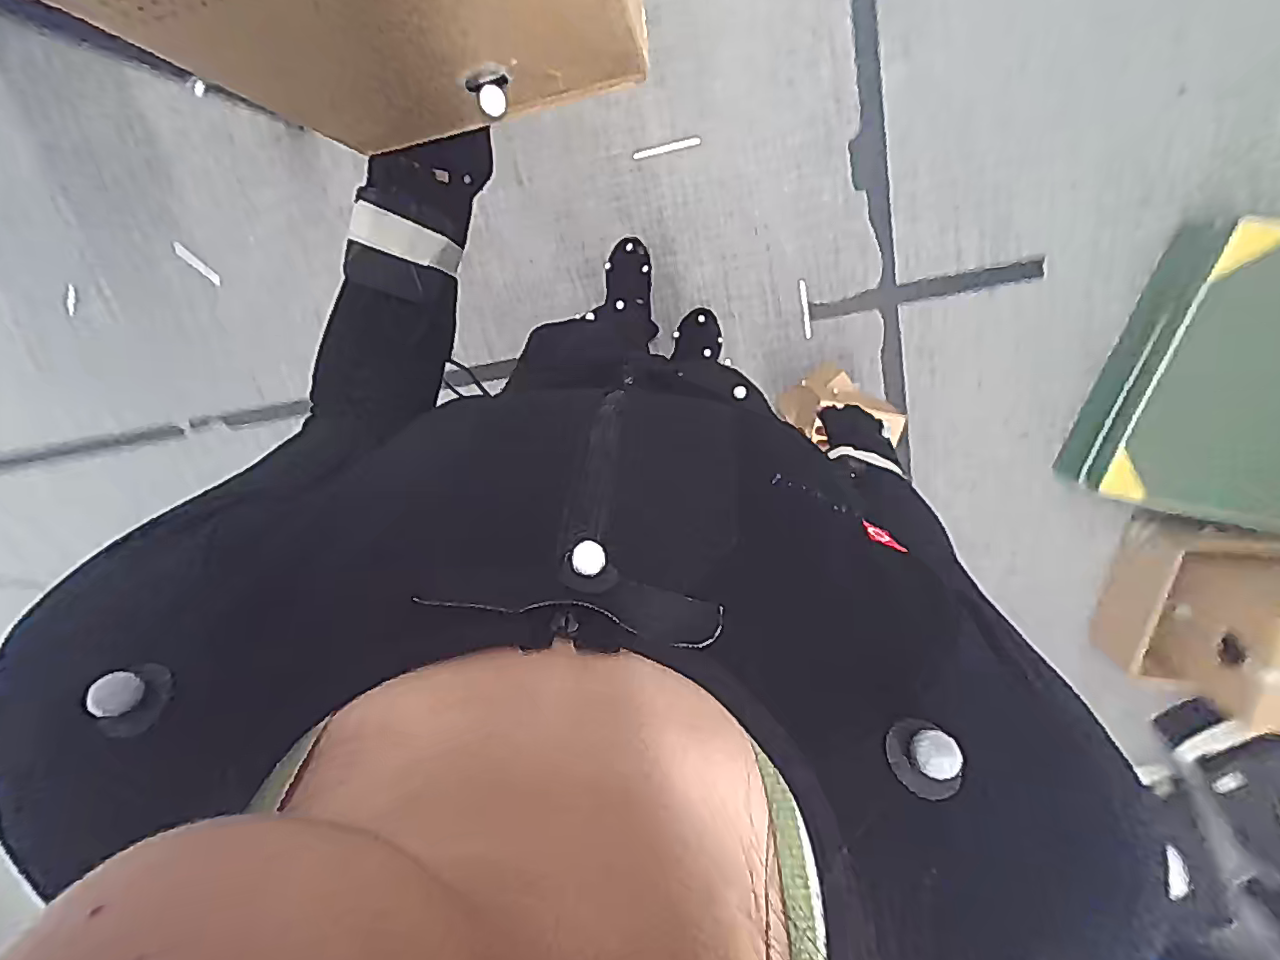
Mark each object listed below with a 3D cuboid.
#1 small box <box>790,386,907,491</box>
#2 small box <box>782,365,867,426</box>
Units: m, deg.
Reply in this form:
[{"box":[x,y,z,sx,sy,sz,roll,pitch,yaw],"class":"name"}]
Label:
[{"box":[0.440,-0.098,1.182,0.179,0.176,0.168,13,114,1],"class":"small box"},{"box":[0.471,-0.165,1.331,0.168,0.176,0.179,-41,102,19],"class":"small box"}]
